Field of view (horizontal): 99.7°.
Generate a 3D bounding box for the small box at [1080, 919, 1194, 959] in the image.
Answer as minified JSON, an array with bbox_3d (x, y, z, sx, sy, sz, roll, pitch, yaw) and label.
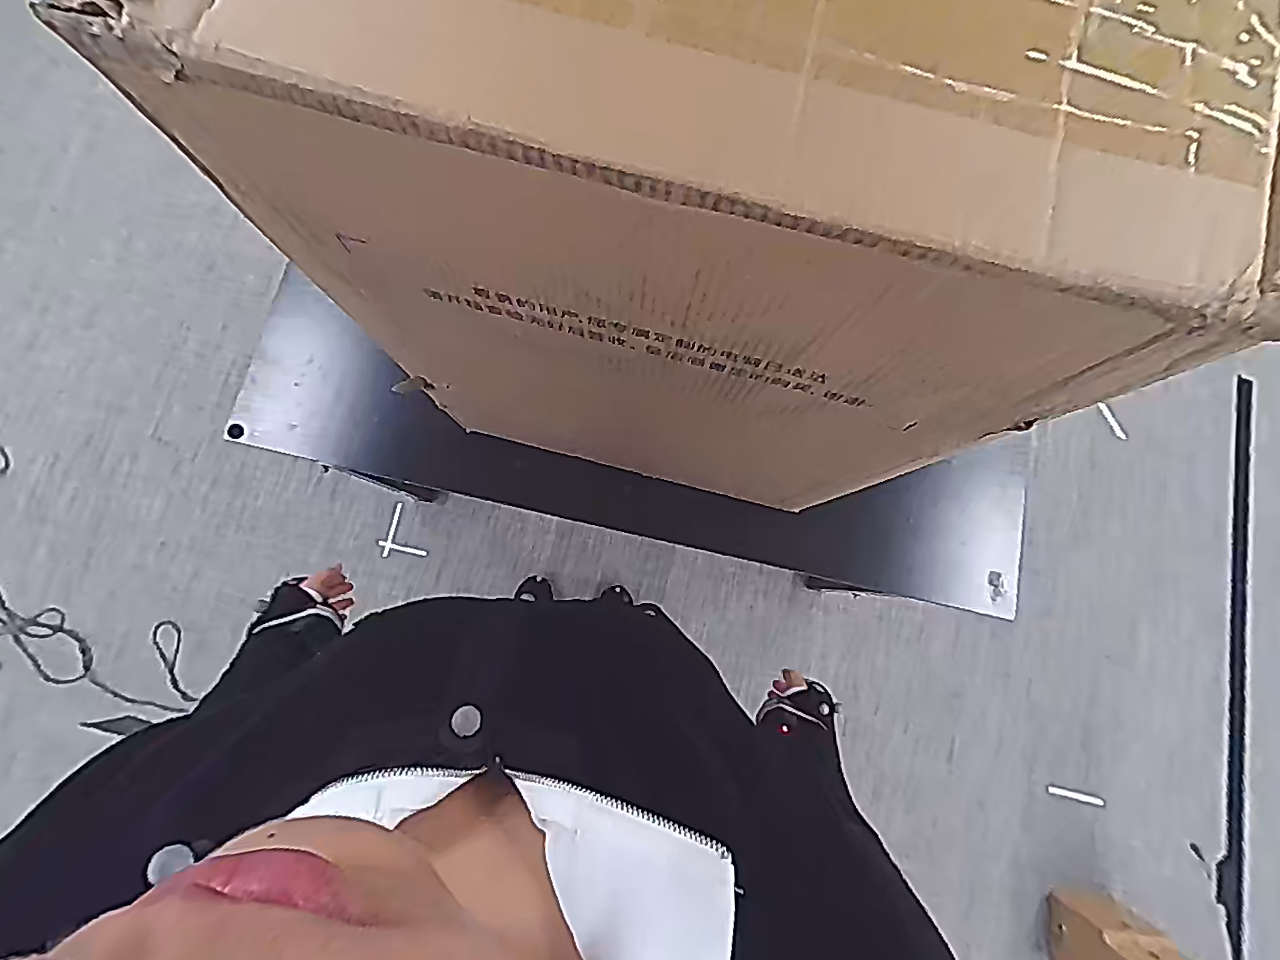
[{"bbox_3d":[1.180,1.169,1.262,0.179,0.176,0.168,7,79,0],"label":"small box"}]
